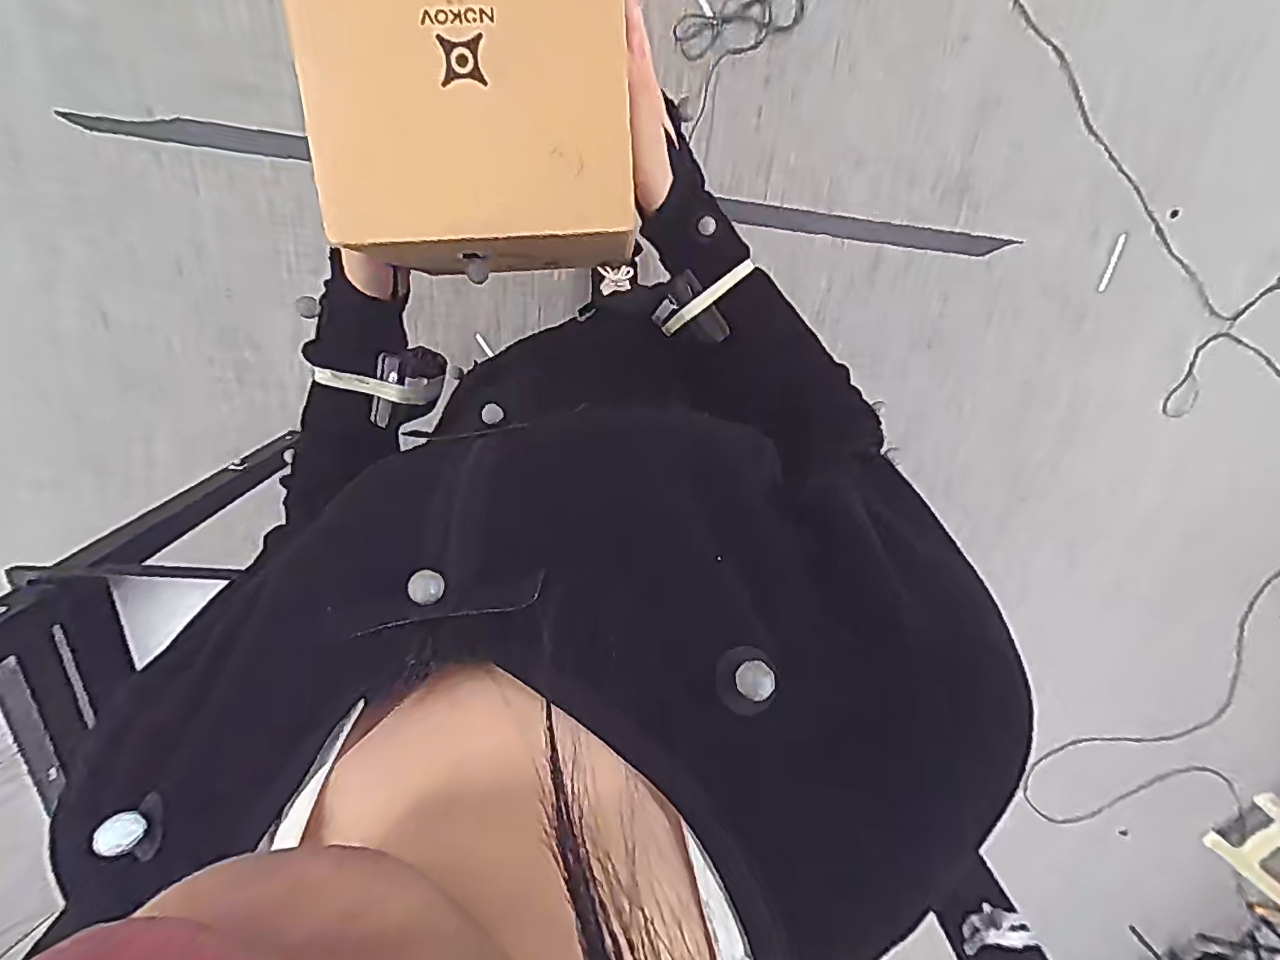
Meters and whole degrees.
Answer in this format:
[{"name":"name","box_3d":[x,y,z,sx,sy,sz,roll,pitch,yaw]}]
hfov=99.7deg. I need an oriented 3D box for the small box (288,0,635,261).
[{"name":"small box","box_3d":[-0.089,-0.240,0.342,0.168,0.176,0.179,-4,105,-1]}]
